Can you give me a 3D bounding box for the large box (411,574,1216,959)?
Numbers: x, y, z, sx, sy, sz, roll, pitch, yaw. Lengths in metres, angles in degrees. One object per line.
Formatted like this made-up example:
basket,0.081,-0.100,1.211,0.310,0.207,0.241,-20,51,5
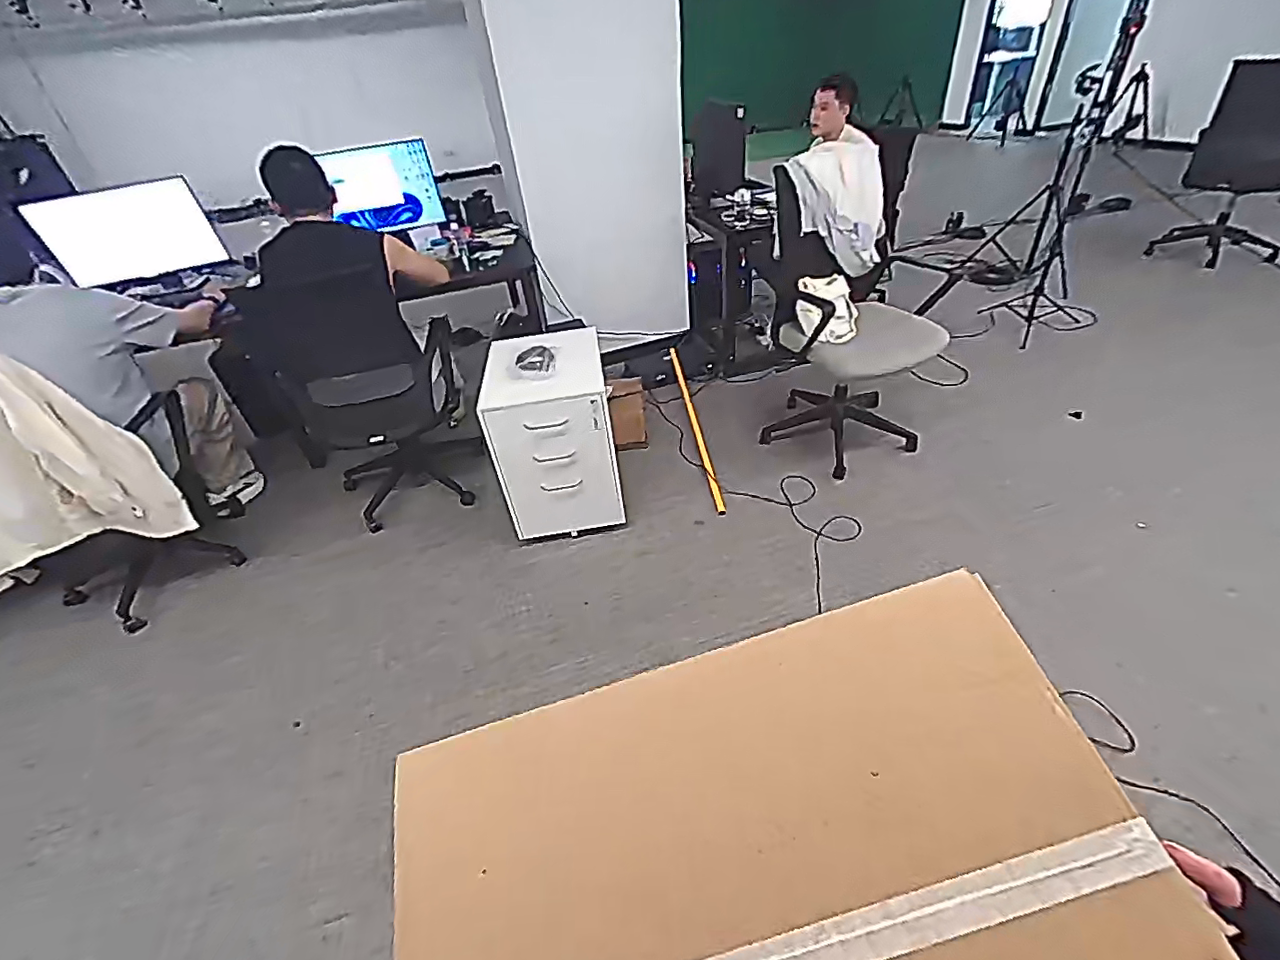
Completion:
large box,0.099,0.322,0.409,0.408,0.320,0.320,-19,56,2
